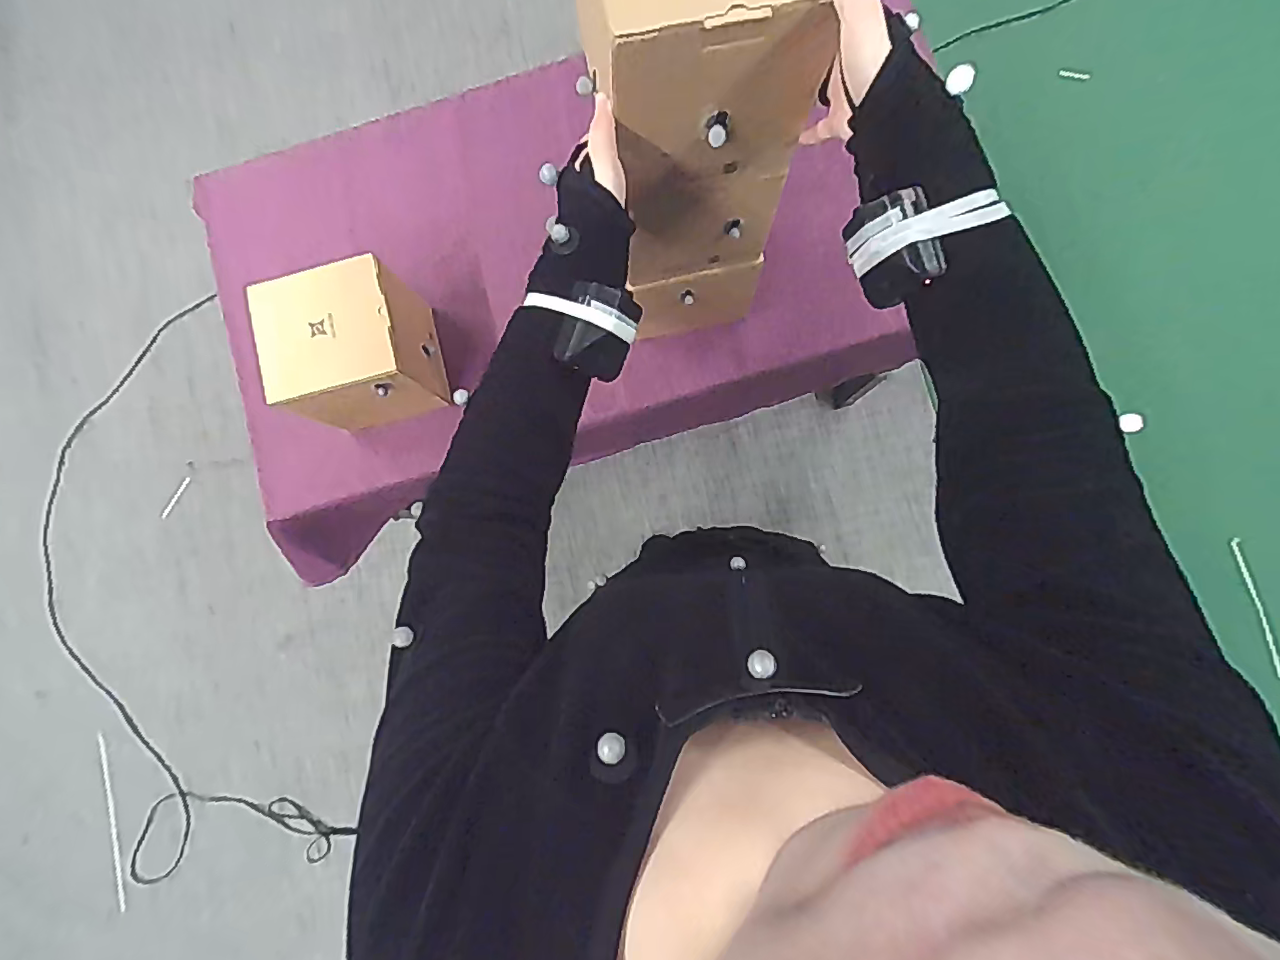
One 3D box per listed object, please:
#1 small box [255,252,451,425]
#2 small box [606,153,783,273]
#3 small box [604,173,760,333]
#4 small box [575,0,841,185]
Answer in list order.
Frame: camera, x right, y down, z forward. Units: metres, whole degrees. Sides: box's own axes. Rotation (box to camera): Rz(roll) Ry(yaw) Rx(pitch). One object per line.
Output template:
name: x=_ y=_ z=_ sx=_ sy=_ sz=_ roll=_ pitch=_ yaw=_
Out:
small box: x=-0.400 y=-0.190 z=0.778 sx=0.179 sy=0.176 sz=0.168 roll=-15 pitch=83 yaw=1
small box: x=0.046 y=-0.351 z=0.598 sx=0.168 sy=0.176 sz=0.179 roll=-11 pitch=82 yaw=1
small box: x=0.058 y=-0.323 z=0.759 sx=0.179 sy=0.176 sz=0.168 roll=-11 pitch=84 yaw=3
small box: x=0.038 y=-0.367 z=0.433 sx=0.168 sy=0.176 sz=0.179 roll=-12 pitch=85 yaw=-1
